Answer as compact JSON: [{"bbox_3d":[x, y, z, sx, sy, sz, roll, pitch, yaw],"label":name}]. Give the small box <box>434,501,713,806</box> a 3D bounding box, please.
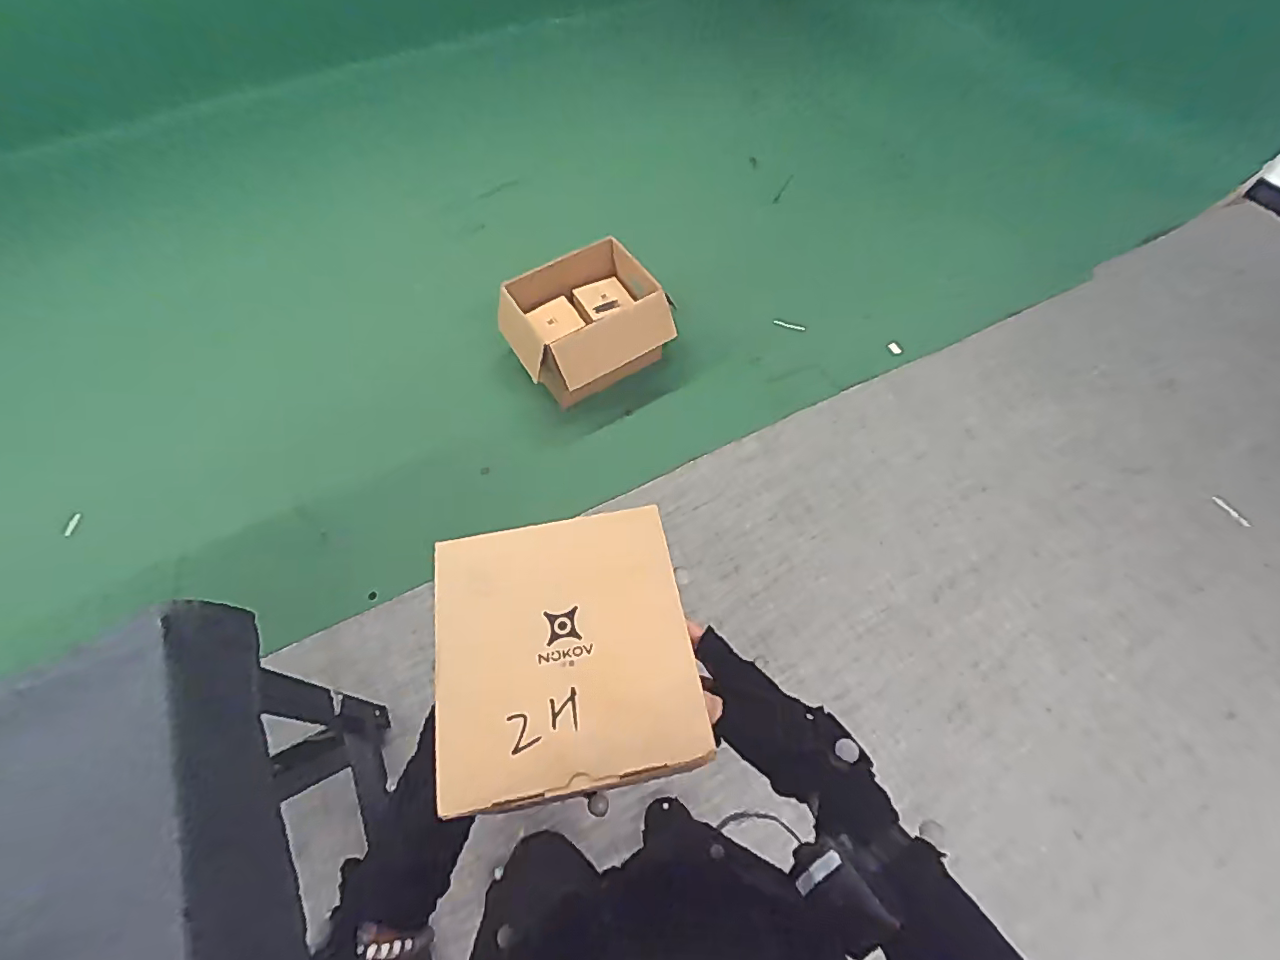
[{"bbox_3d":[-0.051,0.142,0.424,0.168,0.176,0.179,-10,60,-5],"label":"small box"}]
